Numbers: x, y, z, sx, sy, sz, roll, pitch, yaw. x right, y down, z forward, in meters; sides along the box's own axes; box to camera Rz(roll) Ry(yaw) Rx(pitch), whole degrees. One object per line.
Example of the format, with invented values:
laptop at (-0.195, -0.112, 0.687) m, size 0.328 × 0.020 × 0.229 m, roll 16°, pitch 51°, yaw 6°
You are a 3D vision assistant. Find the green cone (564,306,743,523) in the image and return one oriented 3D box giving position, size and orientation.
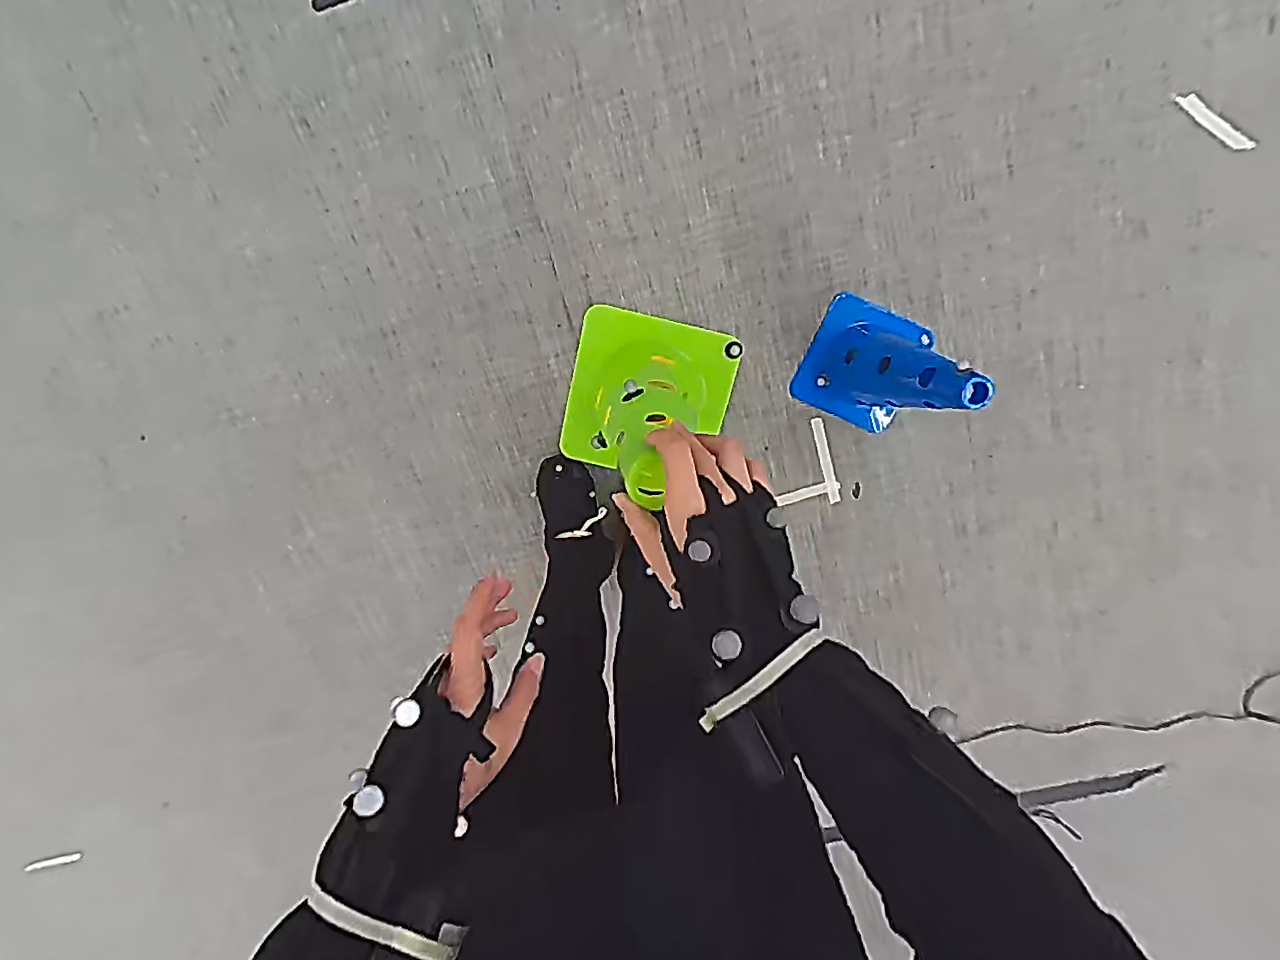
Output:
green cone at (0.011, -0.050, 0.525) m, size 0.200 × 0.368 × 0.202 m, roll 12°, pitch 108°, yaw -3°
